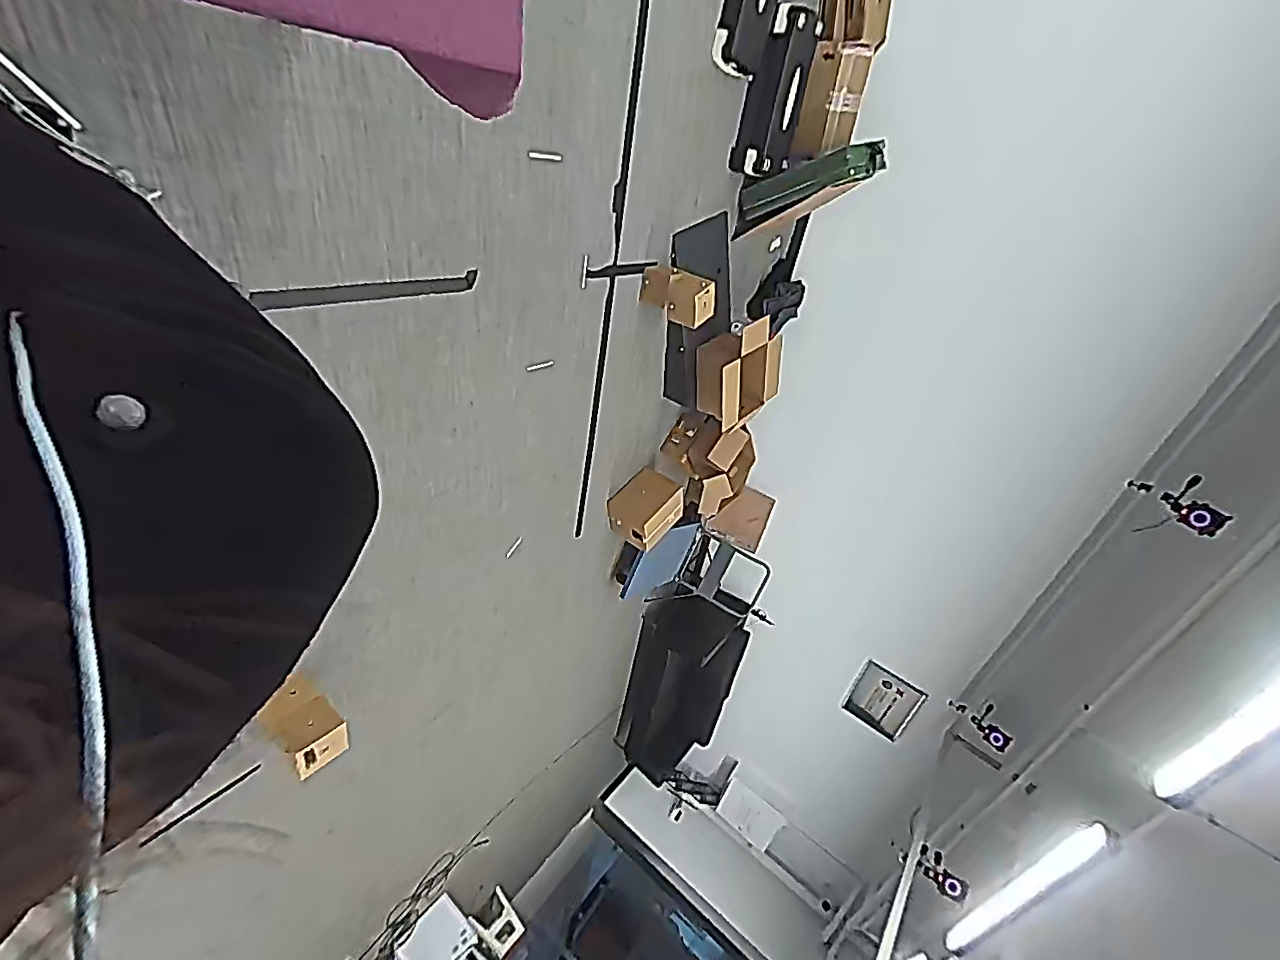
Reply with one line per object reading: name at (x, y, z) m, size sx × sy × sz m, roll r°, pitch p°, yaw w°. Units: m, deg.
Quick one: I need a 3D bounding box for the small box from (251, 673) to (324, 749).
small box at (-1.325, 0.856, 2.032) m, size 0.168 × 0.176 × 0.179 m, roll -29°, pitch 142°, yaw -47°

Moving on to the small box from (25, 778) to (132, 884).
small box at (-1.665, 1.029, 1.604) m, size 0.168 × 0.176 × 0.179 m, roll -26°, pitch 139°, yaw -47°
